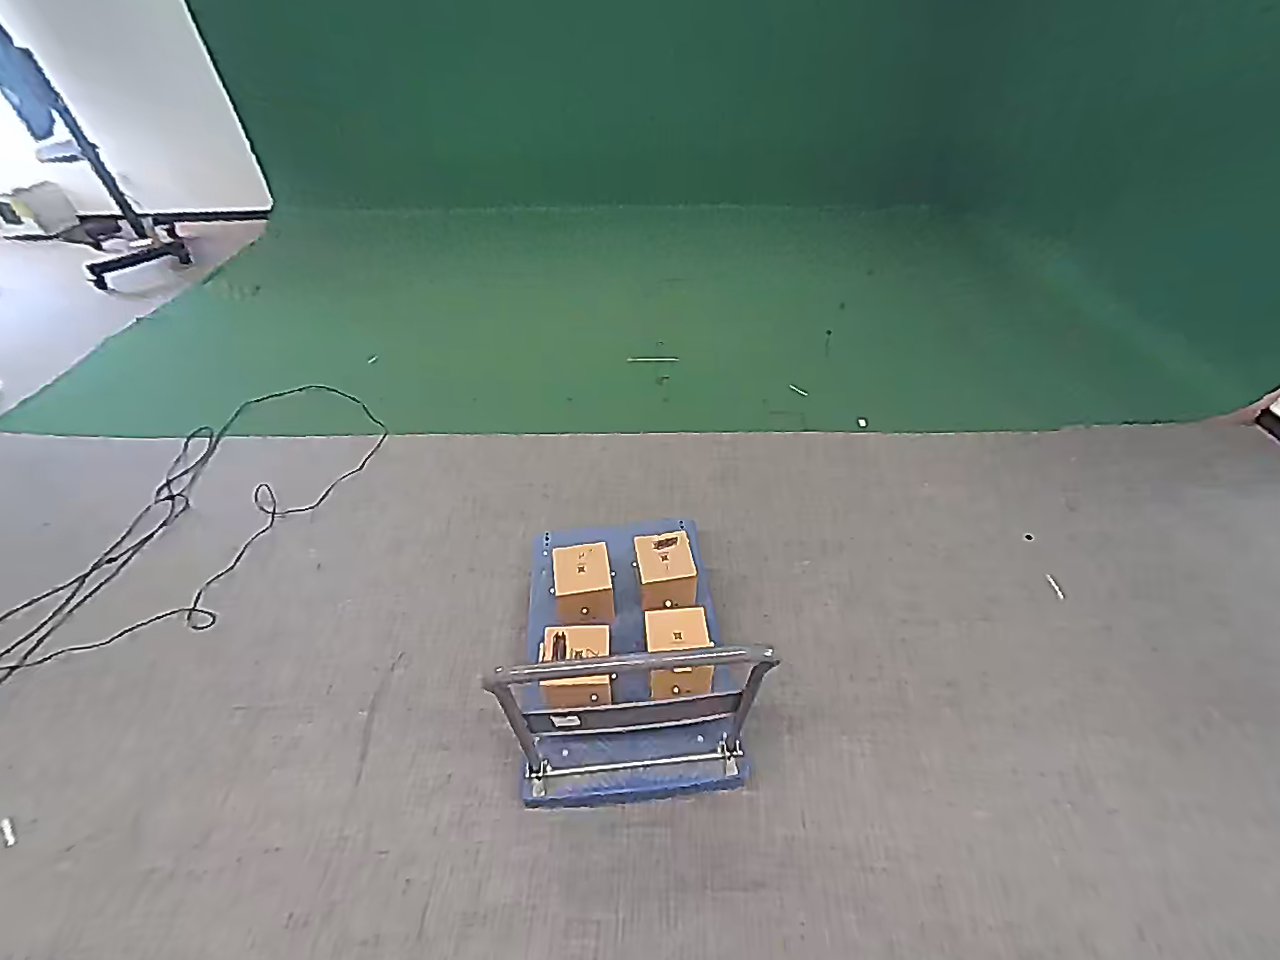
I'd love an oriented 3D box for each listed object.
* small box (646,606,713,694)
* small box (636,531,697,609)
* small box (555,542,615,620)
[{"bbox_3d":[0.104,0.476,1.512,0.168,0.176,0.179,-4,45,-3],"label":"small box"},{"bbox_3d":[0.078,0.286,1.702,0.168,0.176,0.179,-8,46,-5],"label":"small box"},{"bbox_3d":[-0.171,0.319,1.677,0.168,0.176,0.179,-7,45,-6],"label":"small box"}]
